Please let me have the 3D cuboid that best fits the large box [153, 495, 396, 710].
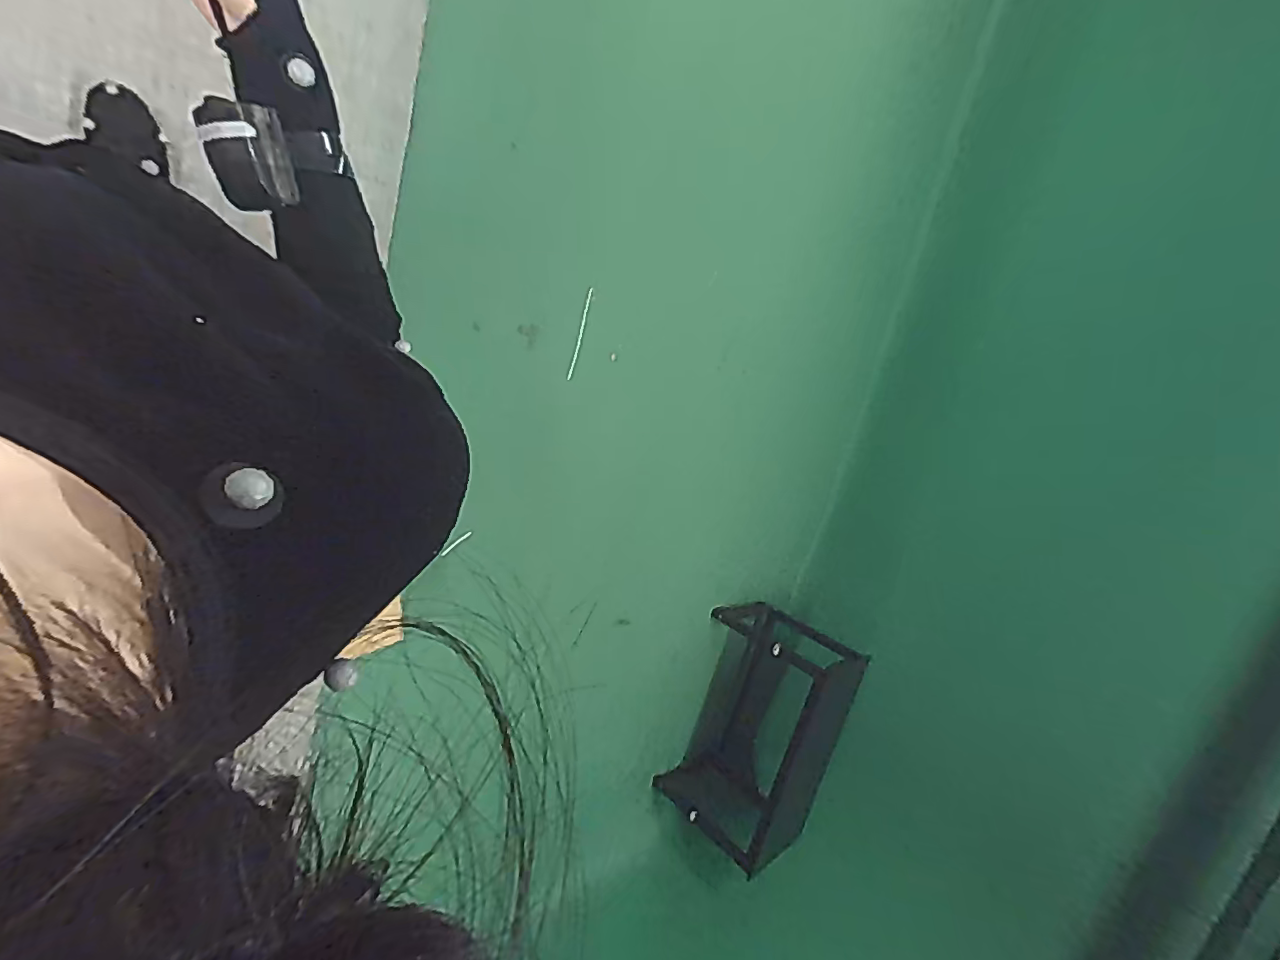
[{"bbox_3d":[-0.869,0.262,1.314,0.408,0.320,0.320,-16,120,-43],"label":"large box"}]
